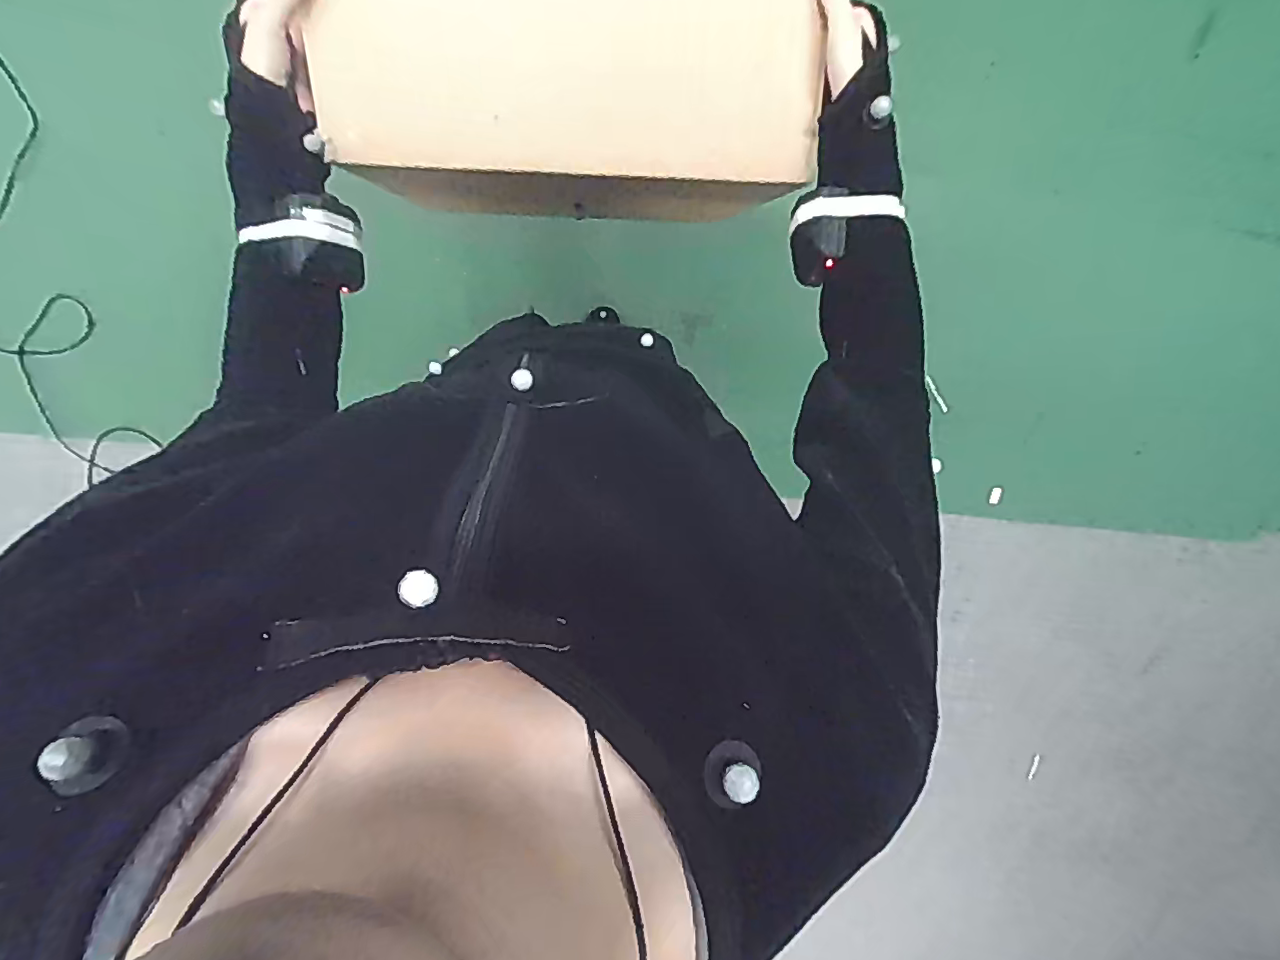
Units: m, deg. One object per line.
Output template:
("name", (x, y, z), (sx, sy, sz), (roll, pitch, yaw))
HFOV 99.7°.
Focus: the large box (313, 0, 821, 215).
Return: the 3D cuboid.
("large box", (-0.062, -0.456, 0.552), (0.408, 0.320, 0.320), (-1, 109, -6))
